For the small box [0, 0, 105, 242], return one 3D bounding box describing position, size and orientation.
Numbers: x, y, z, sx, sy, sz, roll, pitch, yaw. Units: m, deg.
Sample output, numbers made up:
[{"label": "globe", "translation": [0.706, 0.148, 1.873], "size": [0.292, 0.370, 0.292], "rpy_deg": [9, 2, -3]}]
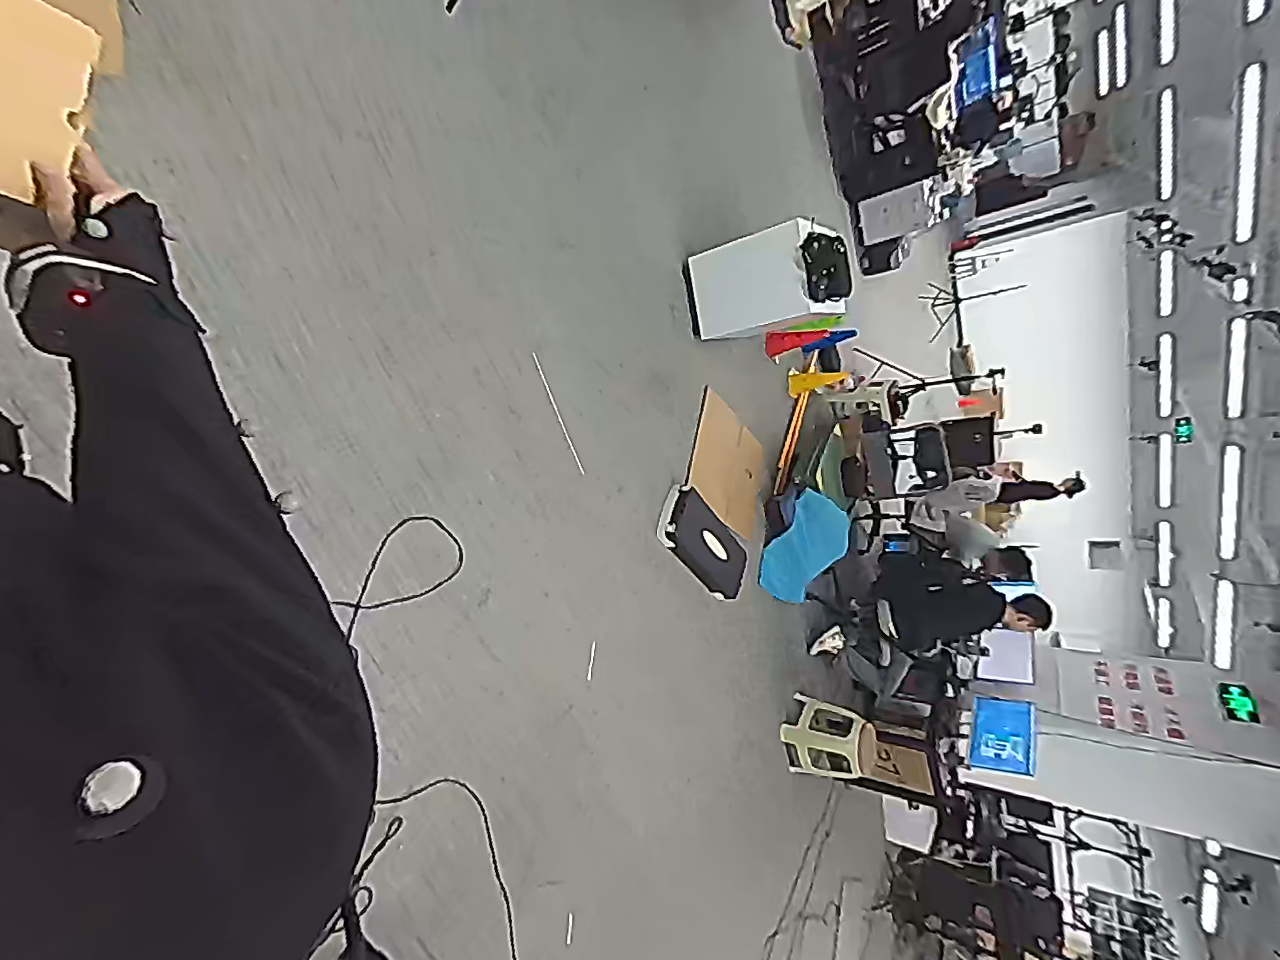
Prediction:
[{"label": "small box", "translation": [-0.575, -0.318, 0.433], "size": [0.179, 0.176, 0.168], "rpy_deg": [13, 82, -50]}]
